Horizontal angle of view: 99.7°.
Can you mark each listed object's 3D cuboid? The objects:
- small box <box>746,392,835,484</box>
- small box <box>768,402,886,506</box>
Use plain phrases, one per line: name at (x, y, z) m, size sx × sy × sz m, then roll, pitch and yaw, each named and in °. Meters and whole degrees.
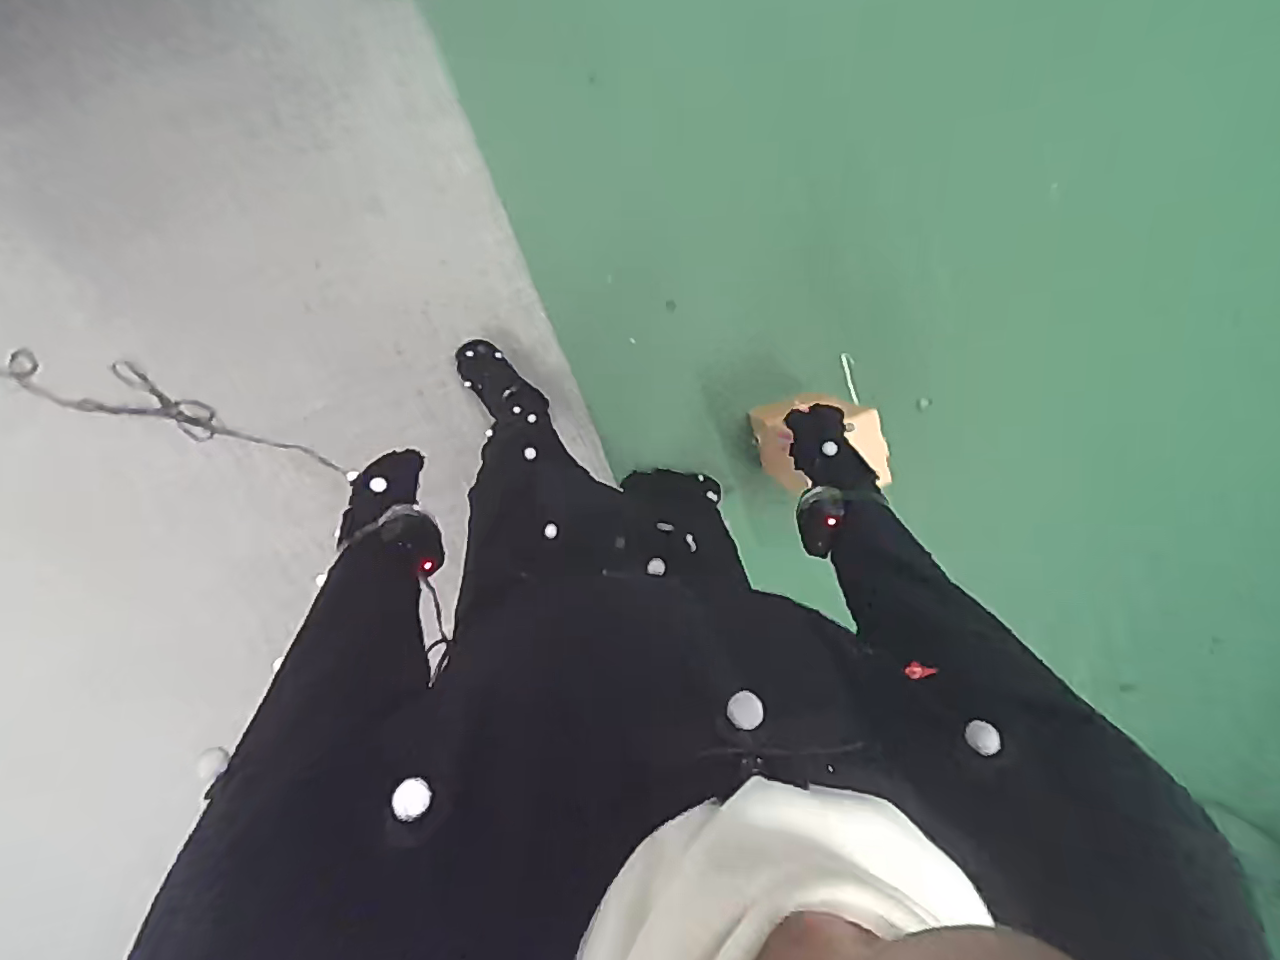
small box at (0.386, -0.111, 1.351) m, size 0.179 × 0.176 × 0.168 m, roll -19°, pitch 106°, yaw 1°
small box at (0.407, -0.065, 1.195) m, size 0.179 × 0.176 × 0.168 m, roll -18°, pitch 106°, yaw -1°
